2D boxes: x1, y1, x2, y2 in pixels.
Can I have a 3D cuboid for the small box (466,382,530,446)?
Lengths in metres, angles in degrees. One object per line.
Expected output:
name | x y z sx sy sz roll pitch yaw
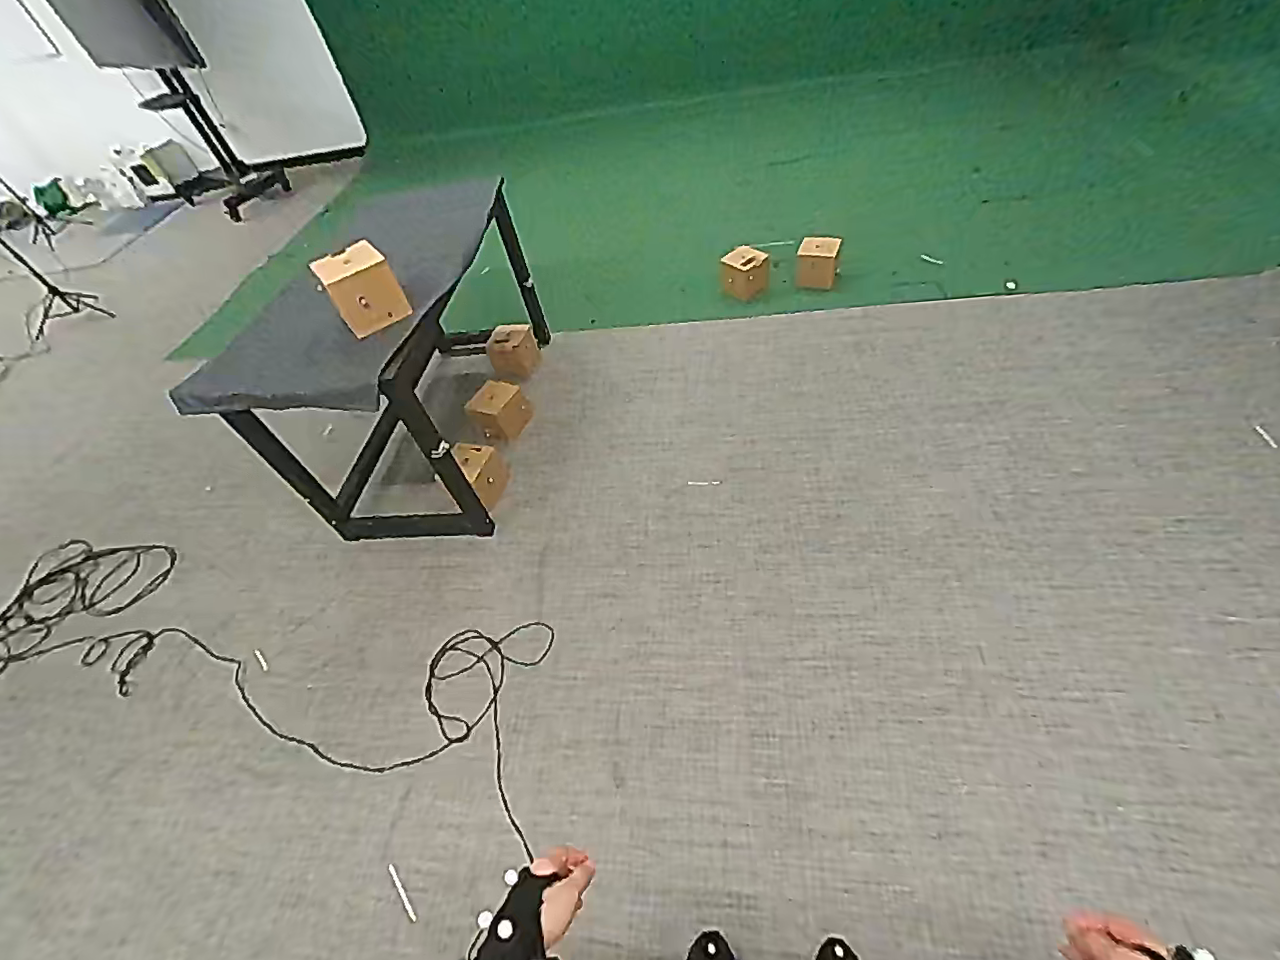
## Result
small box | -0.572 -0.270 2.212 0.168 0.176 0.179 14 55 22

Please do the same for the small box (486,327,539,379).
small box | -0.577 -0.578 2.477 0.168 0.176 0.179 3 49 12

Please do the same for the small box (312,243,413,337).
small box | -0.760 -0.521 1.496 0.168 0.176 0.179 -35 52 -18

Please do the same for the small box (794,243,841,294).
small box | 0.841 -1.005 2.572 0.179 0.176 0.168 14 54 21

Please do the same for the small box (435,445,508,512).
small box | -0.612 -0.004 1.993 0.168 0.176 0.179 8 53 17
